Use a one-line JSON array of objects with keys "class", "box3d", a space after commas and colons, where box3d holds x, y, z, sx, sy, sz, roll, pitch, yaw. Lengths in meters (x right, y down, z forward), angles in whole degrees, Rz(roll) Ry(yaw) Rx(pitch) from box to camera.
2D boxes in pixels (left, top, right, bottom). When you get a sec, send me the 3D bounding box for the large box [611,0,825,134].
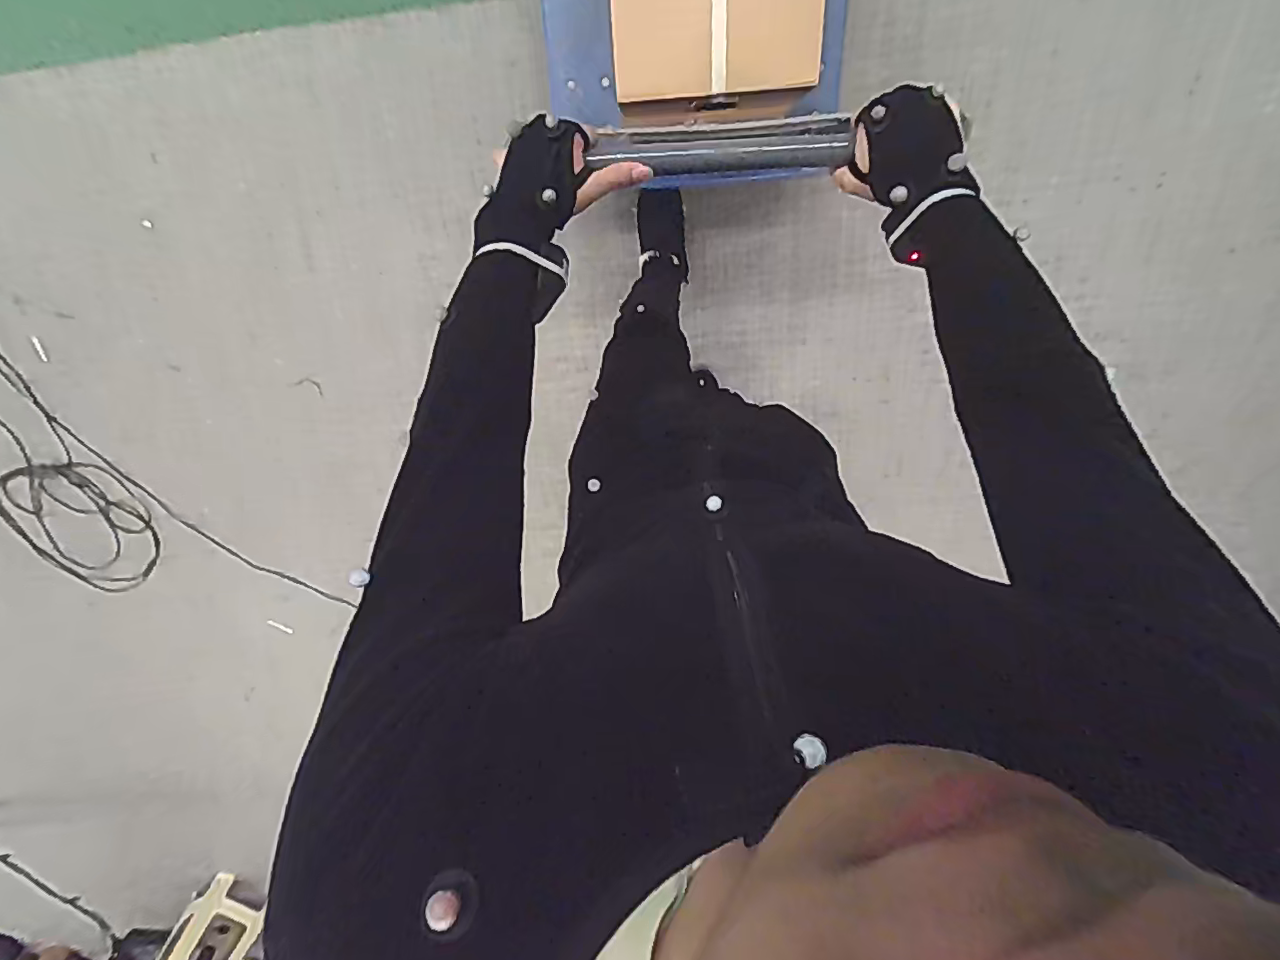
[{"class": "large box", "box3d": [0.116, -0.840, 0.891, 0.320, 0.320, 0.408, -2, 115, 3]}]
